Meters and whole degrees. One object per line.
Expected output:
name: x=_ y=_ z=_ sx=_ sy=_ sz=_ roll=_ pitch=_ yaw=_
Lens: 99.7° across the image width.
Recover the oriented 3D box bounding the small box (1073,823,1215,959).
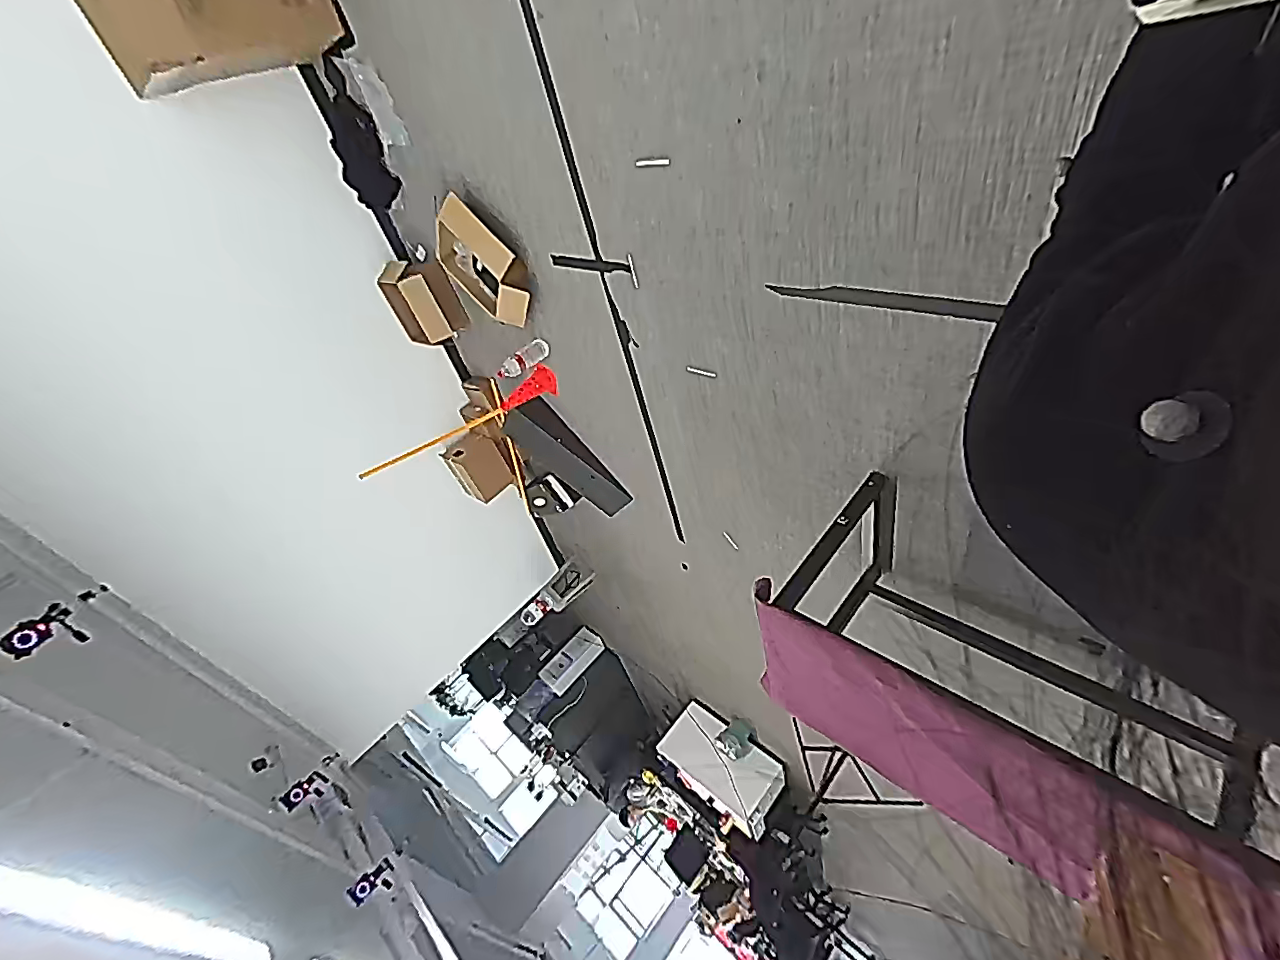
small box: x=1.029 y=0.855 z=1.108 sx=0.168 sy=0.176 sz=0.179 roll=21 pitch=144 yaw=40

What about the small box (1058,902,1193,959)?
small box: x=0.924 y=0.956 z=1.035 sx=0.179 sy=0.176 sz=0.168 roll=20 pitch=145 yaw=41
